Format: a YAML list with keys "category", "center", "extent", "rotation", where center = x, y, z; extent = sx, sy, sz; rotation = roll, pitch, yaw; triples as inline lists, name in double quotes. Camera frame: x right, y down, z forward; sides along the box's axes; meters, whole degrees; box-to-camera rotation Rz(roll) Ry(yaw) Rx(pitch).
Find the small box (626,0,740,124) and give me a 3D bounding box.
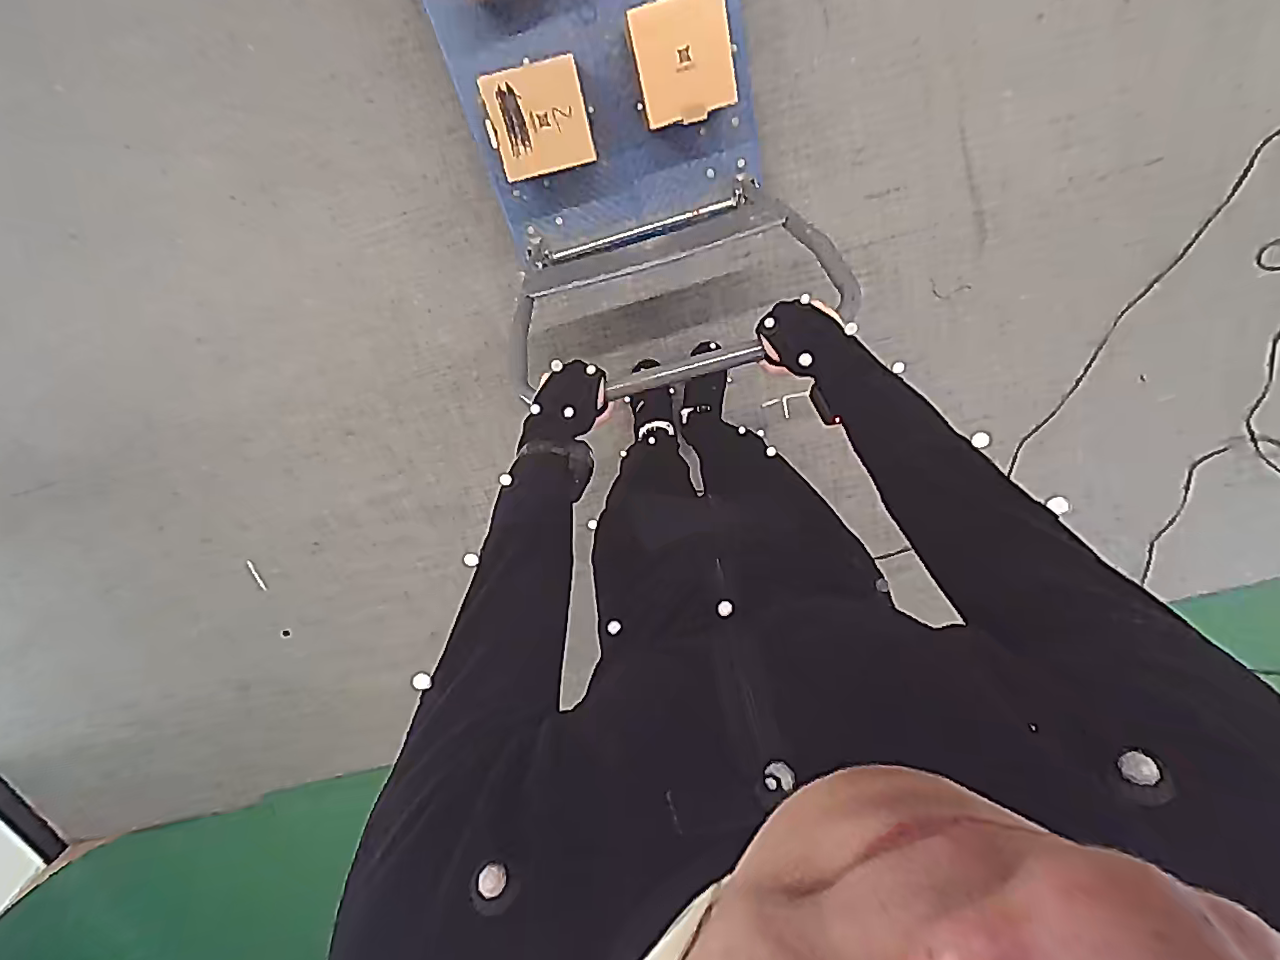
- category: "small box"
  center: [0.075, -0.785, 1.003]
  extent: [0.168, 0.176, 0.179]
  rotation: [-15, 125, 6]
